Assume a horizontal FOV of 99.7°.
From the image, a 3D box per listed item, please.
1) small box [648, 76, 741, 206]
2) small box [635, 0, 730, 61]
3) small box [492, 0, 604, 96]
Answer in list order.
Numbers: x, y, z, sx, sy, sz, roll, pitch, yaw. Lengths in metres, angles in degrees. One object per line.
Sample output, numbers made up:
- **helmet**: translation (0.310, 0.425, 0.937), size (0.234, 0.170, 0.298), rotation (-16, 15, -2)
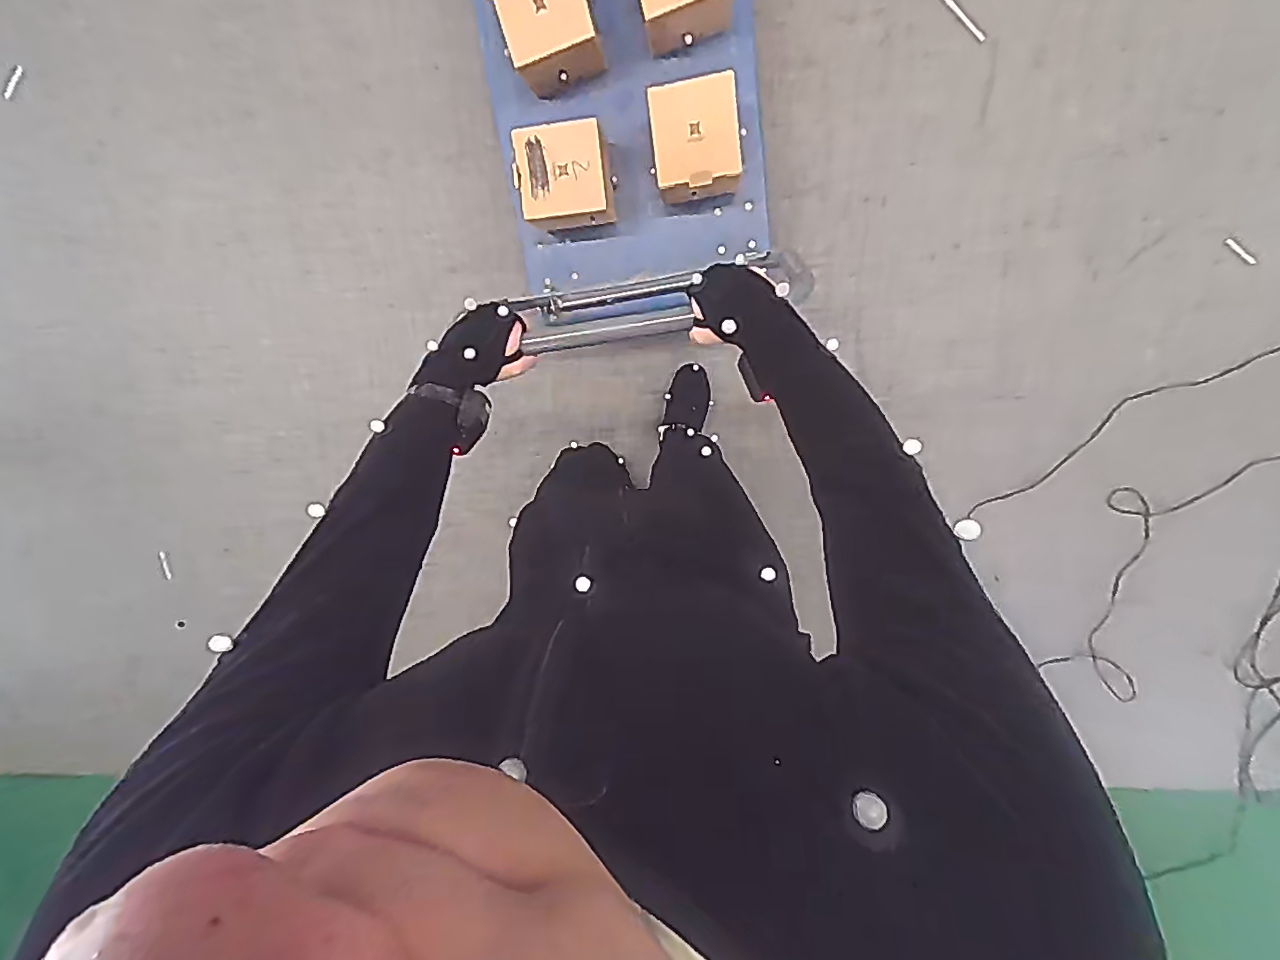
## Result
- **small box**: translation (0.112, -0.686, 1.115), size (0.168, 0.176, 0.179), rotation (-7, 107, 8)
- **small box**: translation (0.070, -0.957, 1.031), size (0.168, 0.176, 0.179), rotation (-14, 107, 10)
- **small box**: translation (-0.180, -0.900, 1.074), size (0.168, 0.176, 0.179), rotation (-15, 106, 9)
